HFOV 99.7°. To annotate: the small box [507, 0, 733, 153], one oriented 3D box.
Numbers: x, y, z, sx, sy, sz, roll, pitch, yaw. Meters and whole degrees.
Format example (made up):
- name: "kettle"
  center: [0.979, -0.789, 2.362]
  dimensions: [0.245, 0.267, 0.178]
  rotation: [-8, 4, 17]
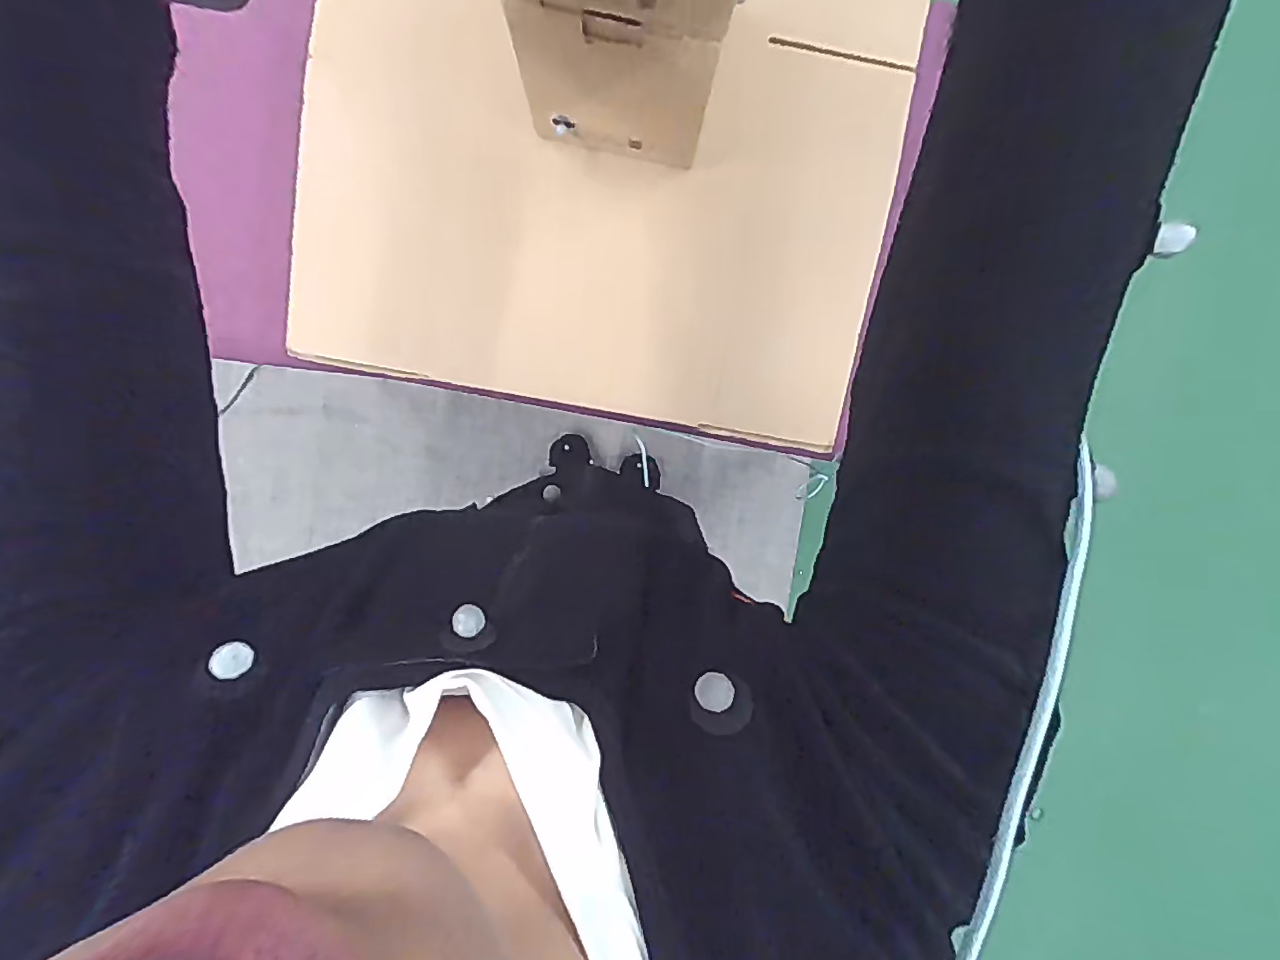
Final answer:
- name: "small box"
  center: [-0.006, -0.417, 0.464]
  dimensions: [0.168, 0.176, 0.179]
  rotation: [8, 94, -3]
